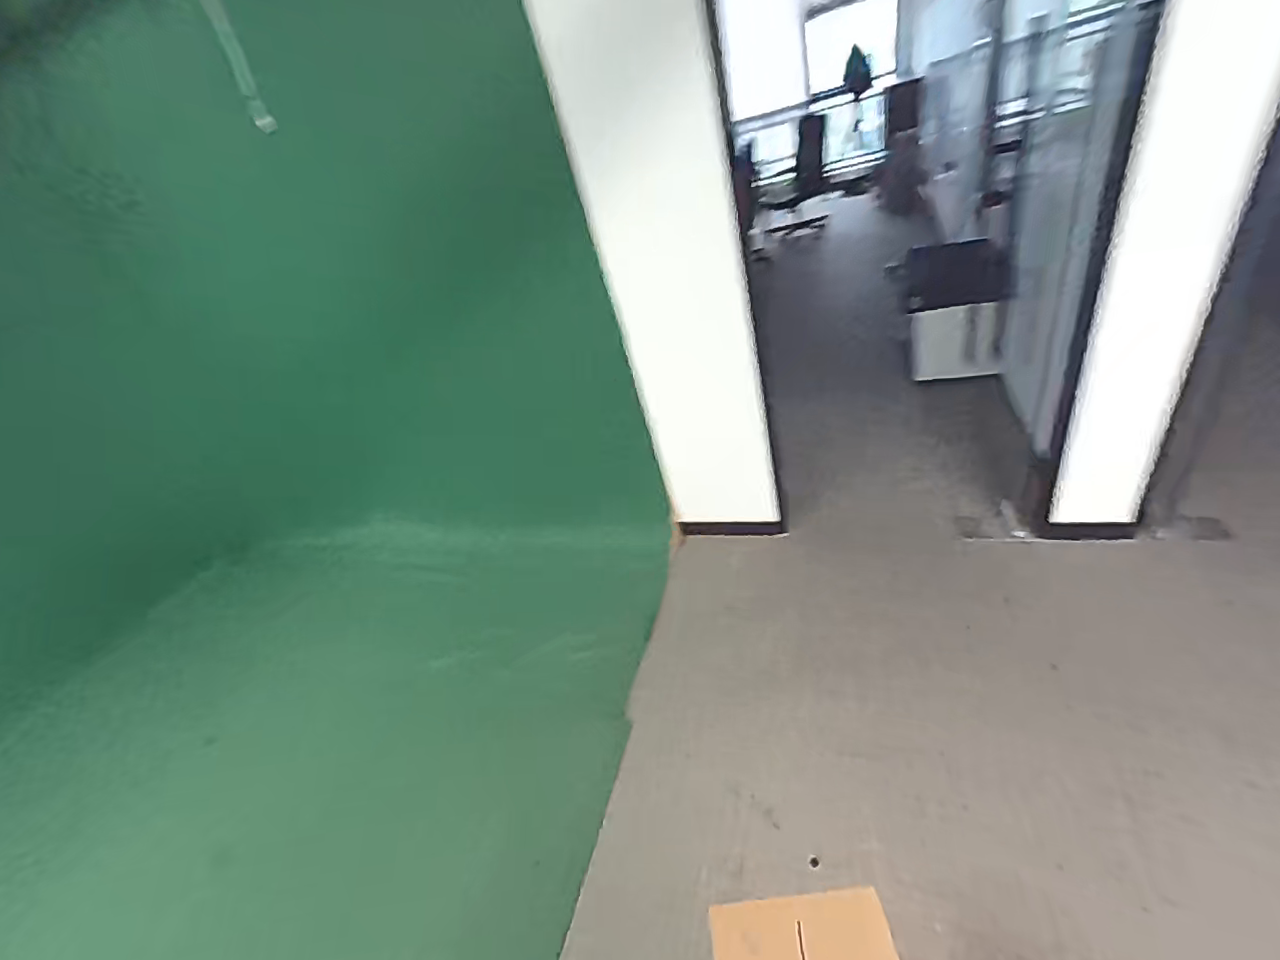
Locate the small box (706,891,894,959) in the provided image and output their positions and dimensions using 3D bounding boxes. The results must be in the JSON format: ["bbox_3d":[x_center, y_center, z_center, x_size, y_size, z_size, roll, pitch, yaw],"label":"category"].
[{"bbox_3d":[0.164,0.522,0.498,0.168,0.176,0.179,-11,33,5],"label":"small box"}]
